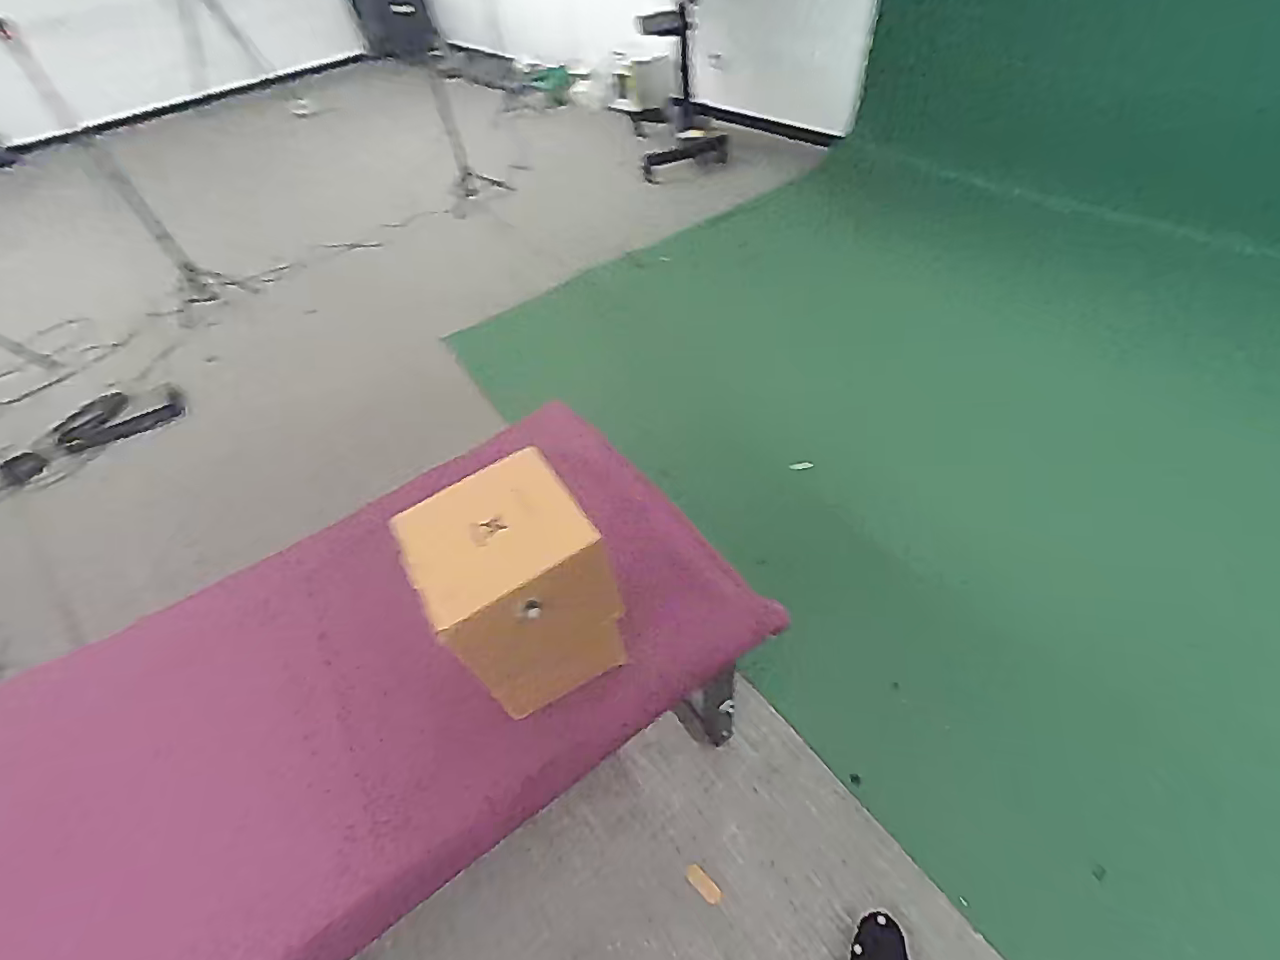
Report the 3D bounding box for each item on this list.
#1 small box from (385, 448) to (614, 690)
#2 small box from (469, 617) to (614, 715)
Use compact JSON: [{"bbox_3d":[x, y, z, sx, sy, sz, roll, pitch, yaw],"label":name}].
[{"bbox_3d":[-0.150,0.103,0.612,0.179,0.176,0.168,-30,51,-16],"label":"small box"},{"bbox_3d":[-0.146,0.192,0.753,0.179,0.176,0.168,-26,50,-12],"label":"small box"}]
